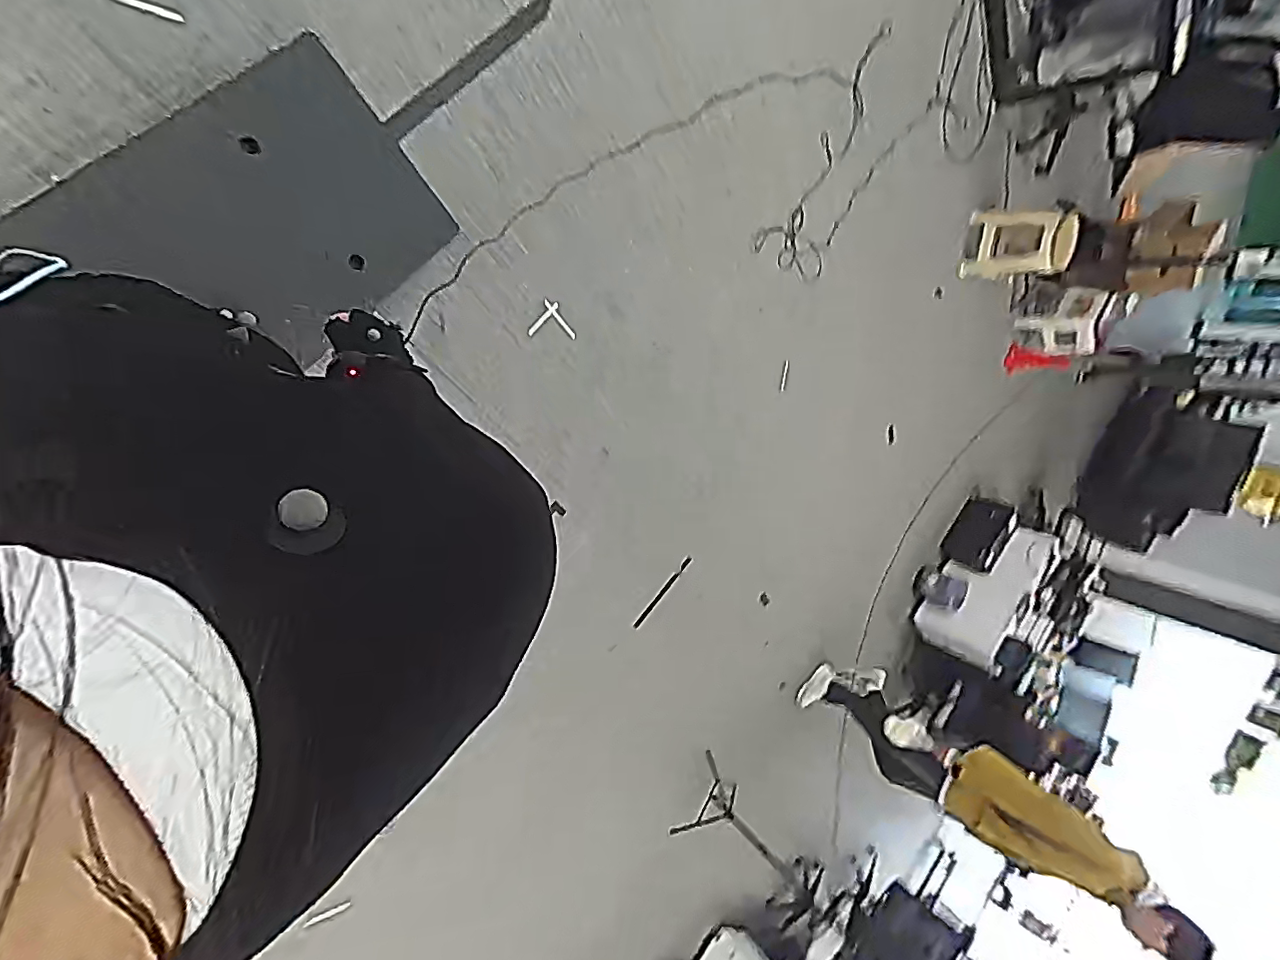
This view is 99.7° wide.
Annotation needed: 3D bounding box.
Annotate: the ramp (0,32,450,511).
[{"bbox_3d":[-0.891,-0.465,1.153,0.991,0.206,0.509,-51,129,-14],"label":"ramp"}]
